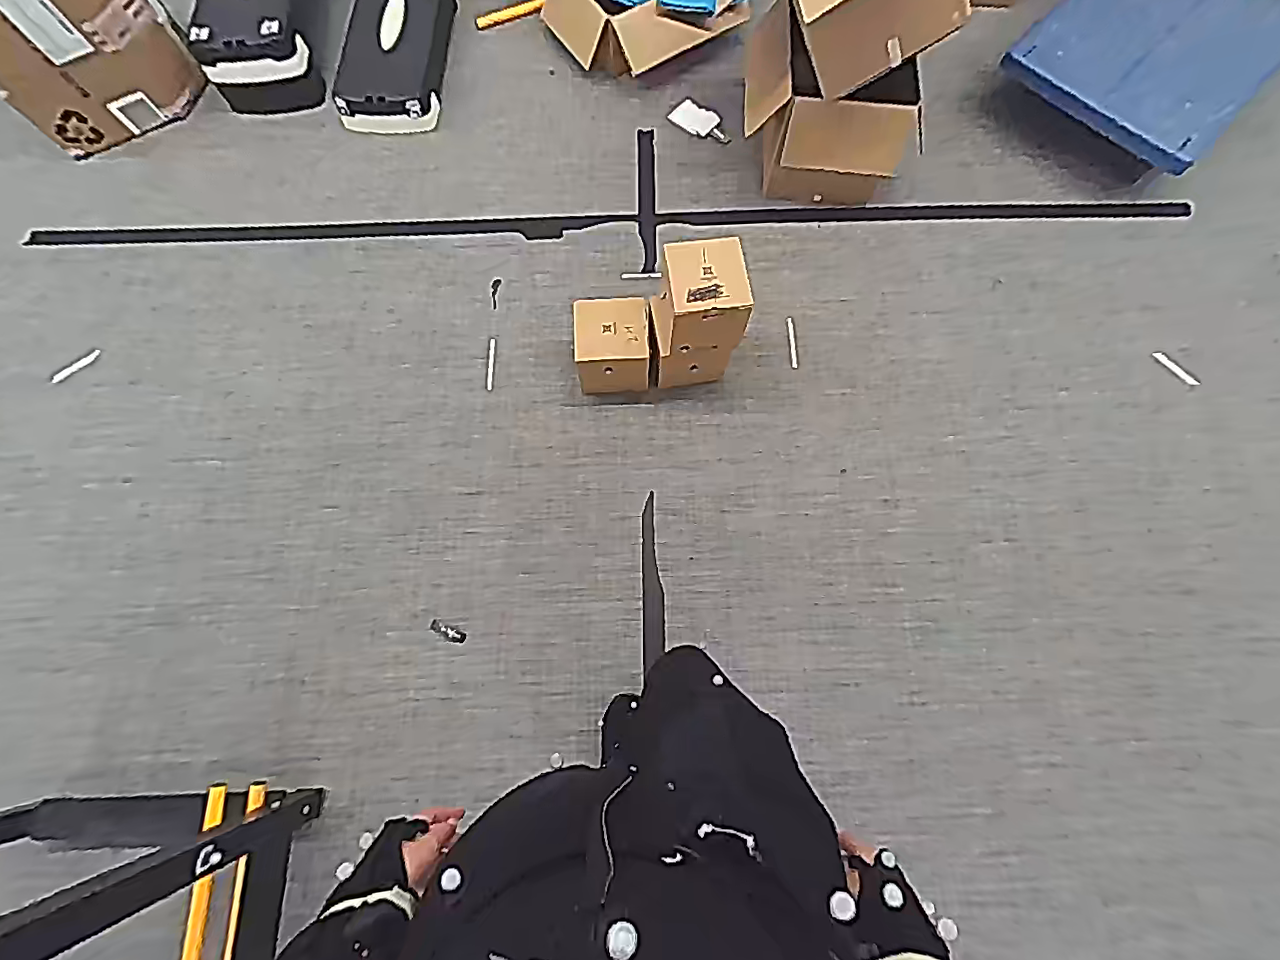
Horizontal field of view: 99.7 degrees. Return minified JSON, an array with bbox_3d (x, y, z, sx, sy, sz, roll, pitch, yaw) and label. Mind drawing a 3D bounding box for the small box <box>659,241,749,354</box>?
[{"bbox_3d":[0.135,-0.394,1.200,0.168,0.176,0.179,-6,72,-3],"label":"small box"}]
